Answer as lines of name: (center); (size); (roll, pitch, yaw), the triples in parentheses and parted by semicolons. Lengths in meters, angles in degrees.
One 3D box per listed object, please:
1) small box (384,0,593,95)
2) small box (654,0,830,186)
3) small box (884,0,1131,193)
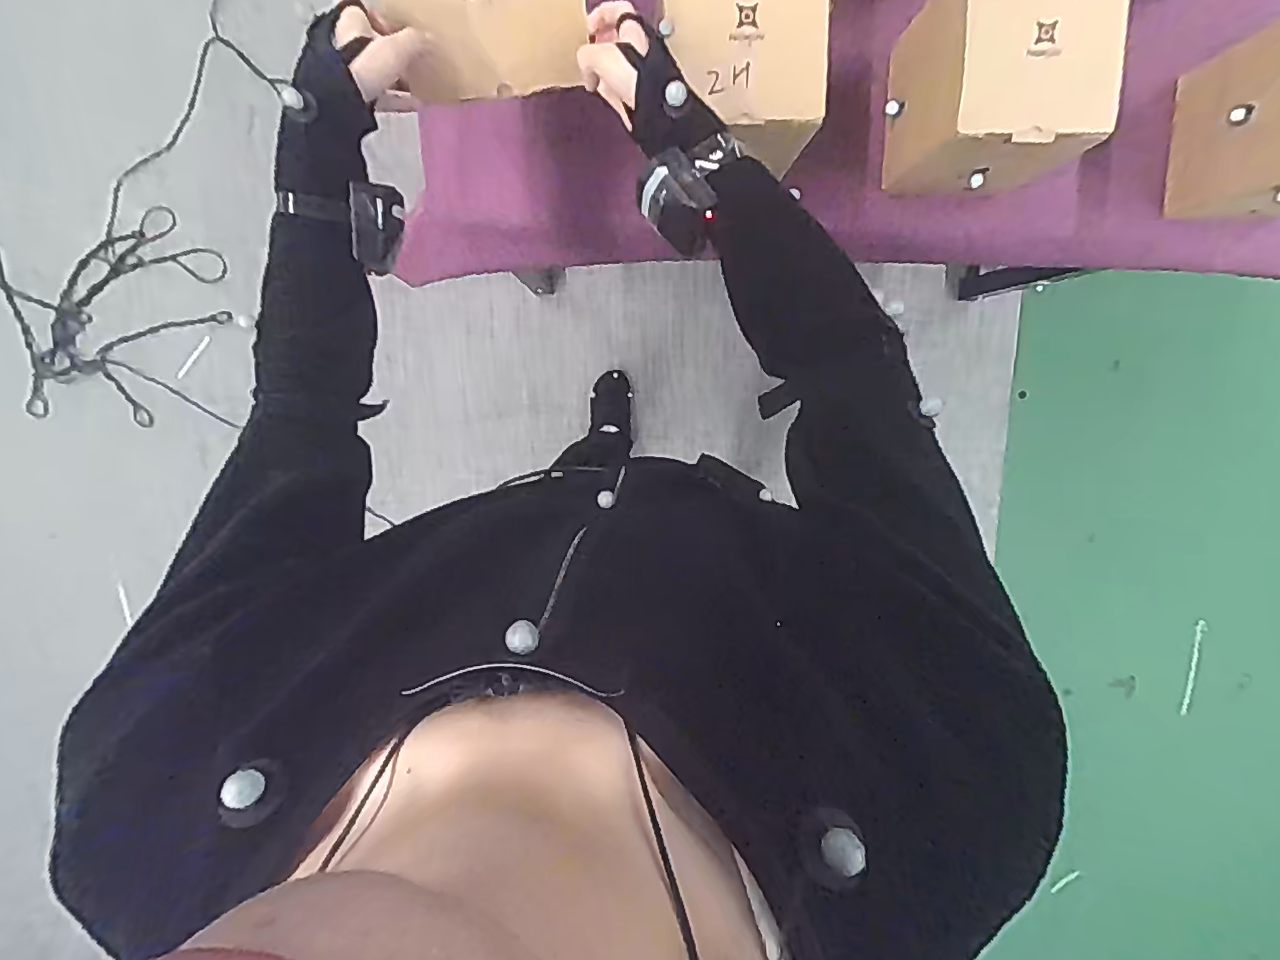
small box: (-0.142, -0.470, 0.467); (0.168, 0.176, 0.179); (-11, 144, -5)
small box: (0.101, -0.457, 0.608); (0.168, 0.176, 0.179); (-1, 100, -1)
small box: (0.400, -0.446, 0.619); (0.168, 0.176, 0.179); (0, 99, -2)
